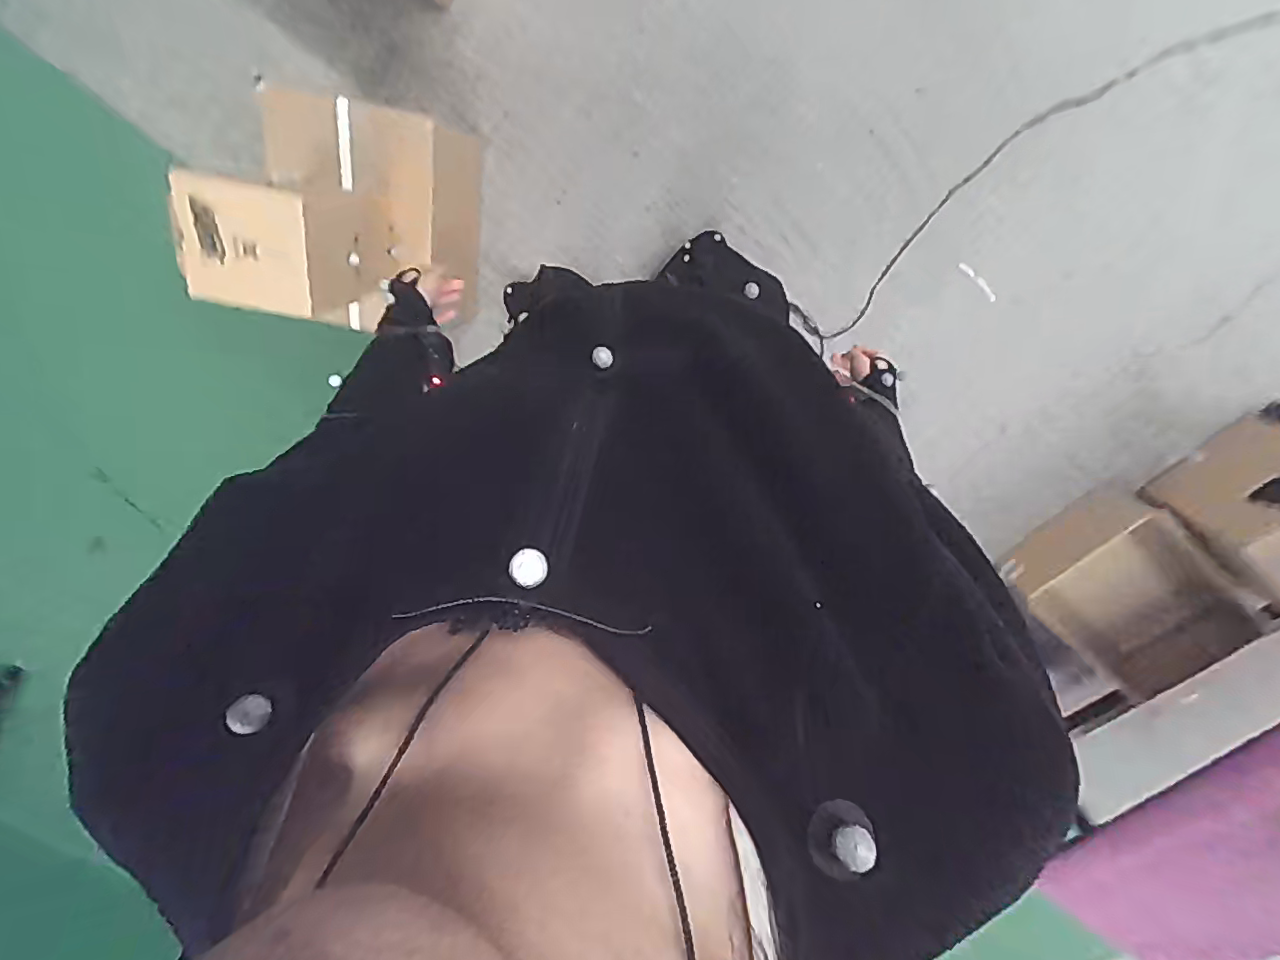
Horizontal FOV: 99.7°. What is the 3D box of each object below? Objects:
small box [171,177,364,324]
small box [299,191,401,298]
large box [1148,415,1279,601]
[{"bbox_3d":[-0.550,-0.349,0.825,0.179,0.176,0.168,10,116,-4],"label":"small box"},{"bbox_3d":[-0.557,-0.423,0.972,0.179,0.176,0.168,6,116,-1],"label":"small box"},{"bbox_3d":[1.678,0.103,1.394,0.408,0.320,0.320,37,112,-13],"label":"large box"}]
